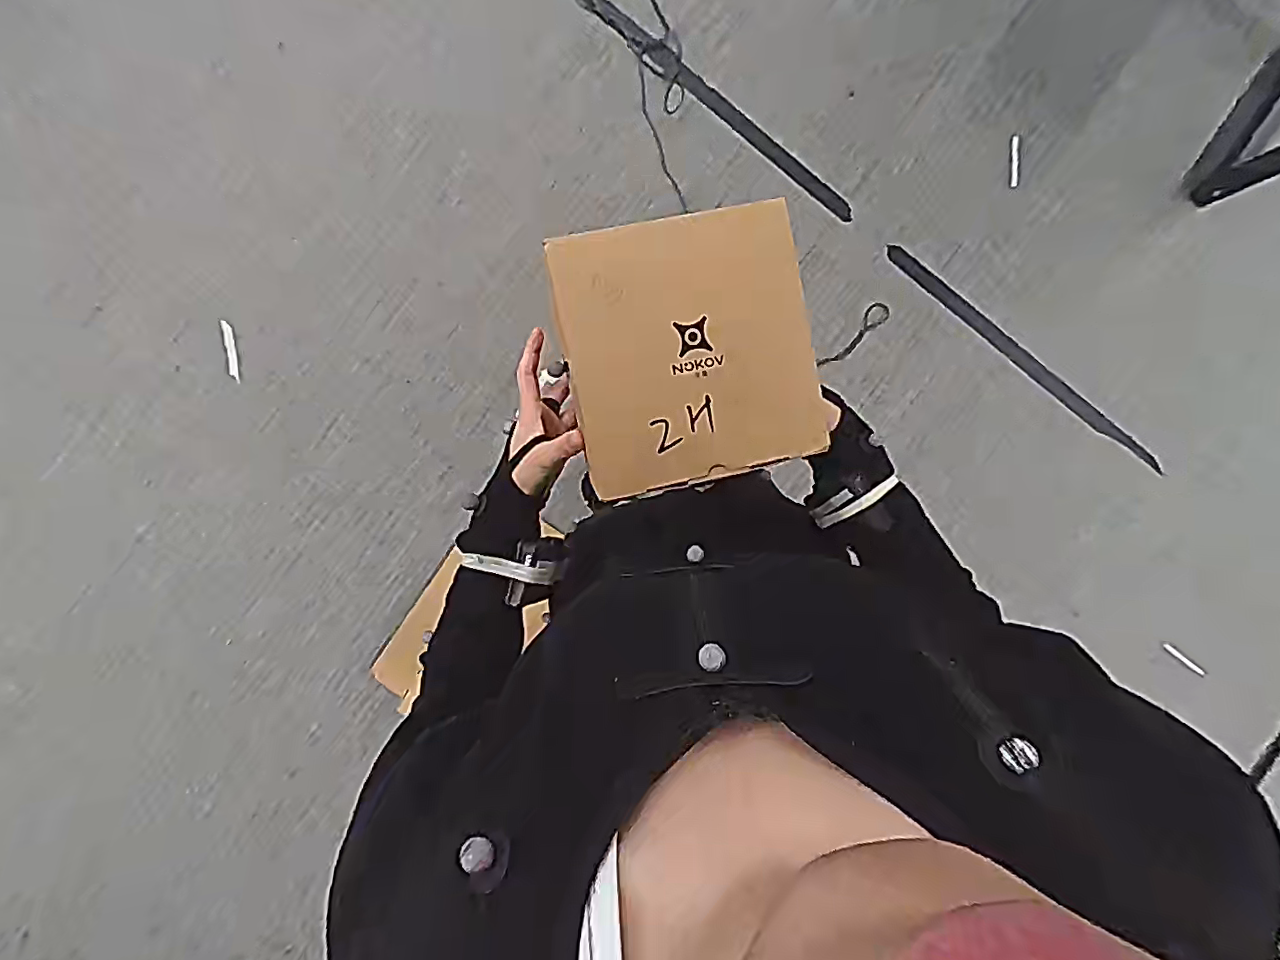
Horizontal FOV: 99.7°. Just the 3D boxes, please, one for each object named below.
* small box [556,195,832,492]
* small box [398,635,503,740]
[{"bbox_3d":[0.028,-0.096,0.439,0.168,0.176,0.179,-12,96,-6],"label":"small box"},{"bbox_3d":[-0.478,0.522,1.392,0.179,0.176,0.168,30,91,-5],"label":"small box"}]
